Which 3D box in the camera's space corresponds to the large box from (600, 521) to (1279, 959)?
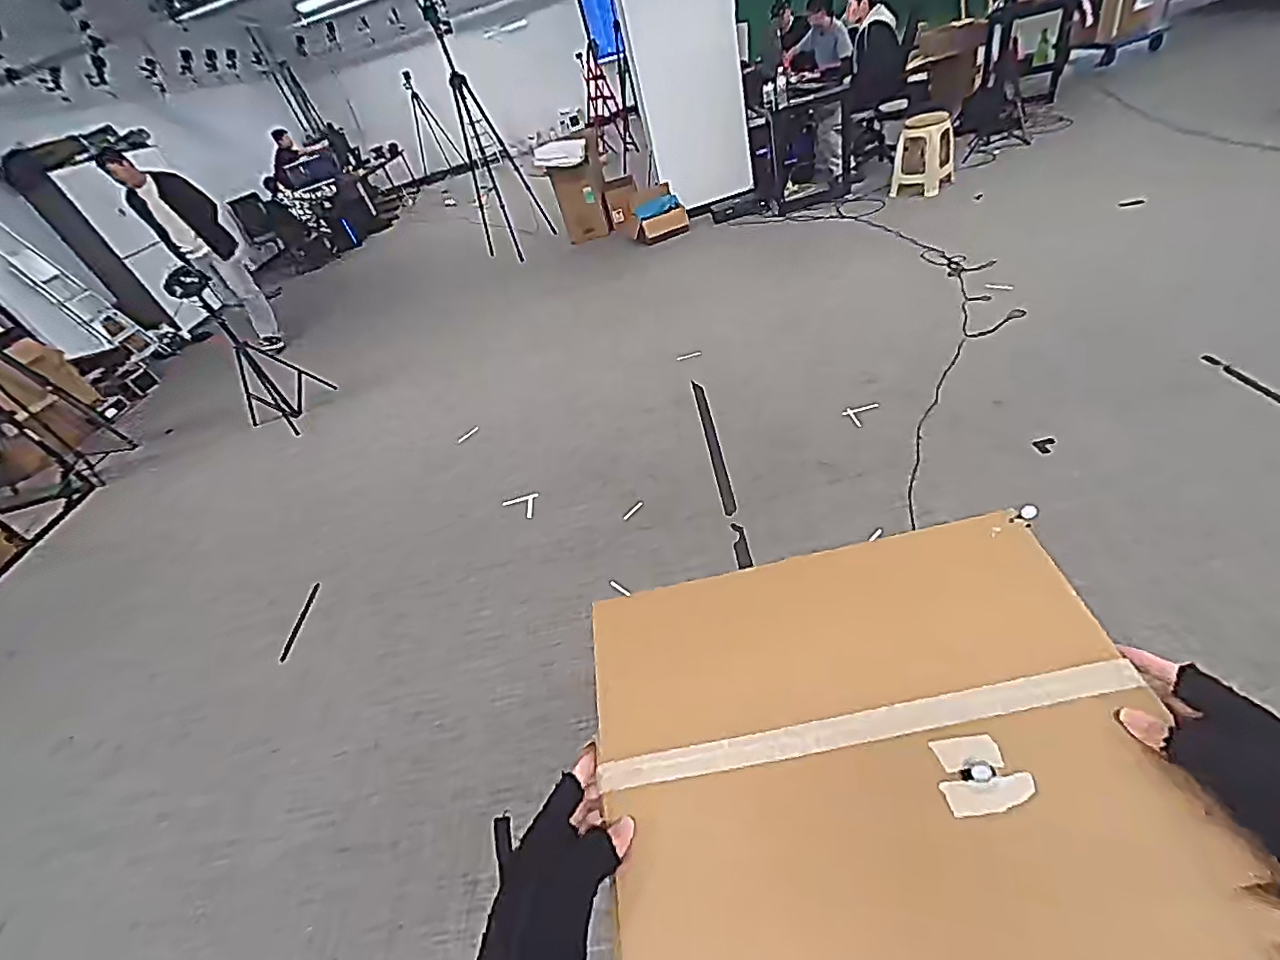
[{"bbox_3d":[0.201,0.293,0.536,0.408,0.320,0.320,-14,48,6],"label":"large box"}]
